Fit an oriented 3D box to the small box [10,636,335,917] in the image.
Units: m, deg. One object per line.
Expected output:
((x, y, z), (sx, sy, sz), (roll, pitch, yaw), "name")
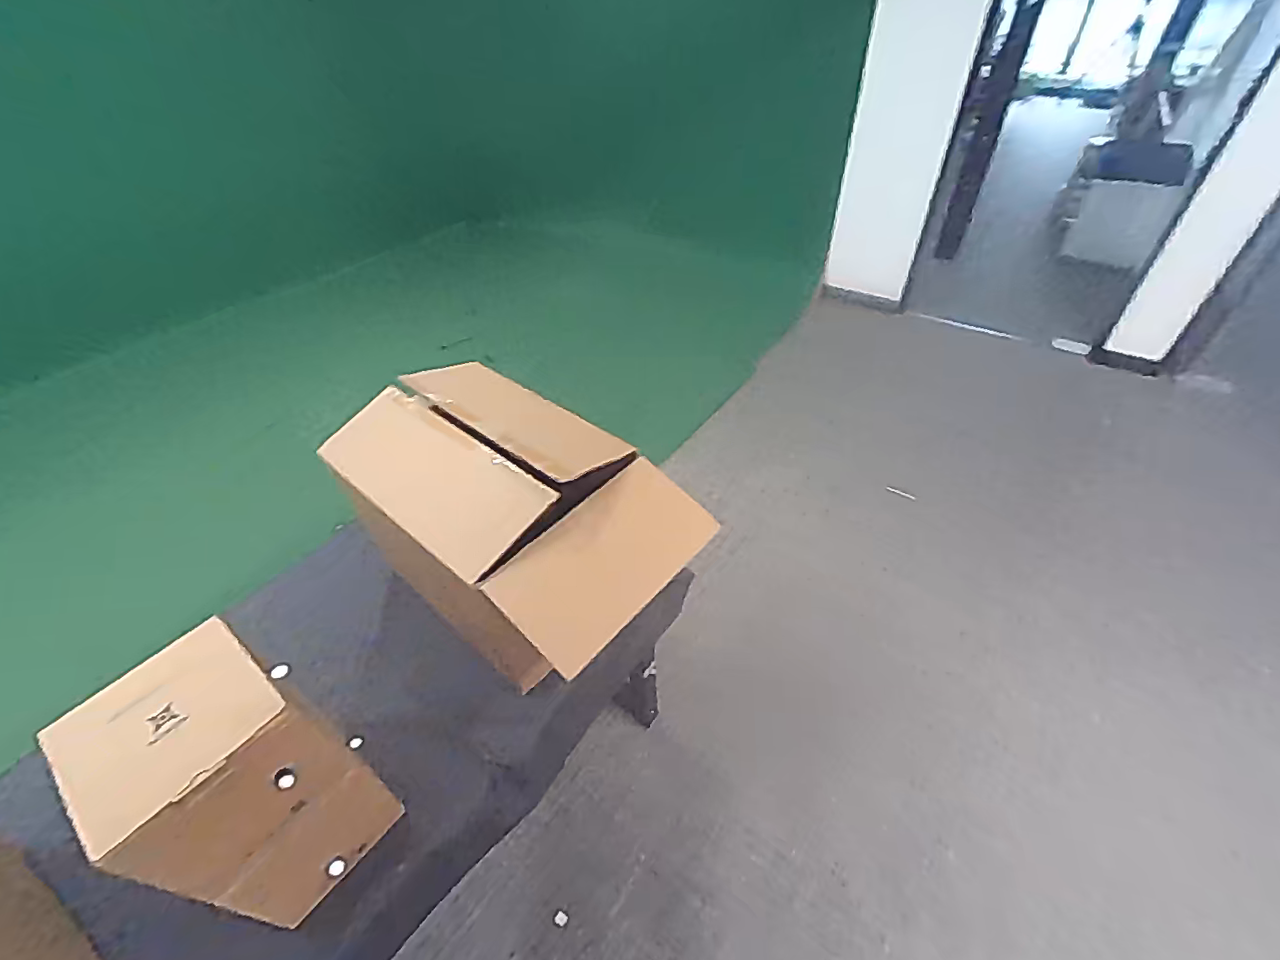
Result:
((-0.457, 0.304, 0.556), (0.179, 0.176, 0.168), (27, 52, 28), "small box")
